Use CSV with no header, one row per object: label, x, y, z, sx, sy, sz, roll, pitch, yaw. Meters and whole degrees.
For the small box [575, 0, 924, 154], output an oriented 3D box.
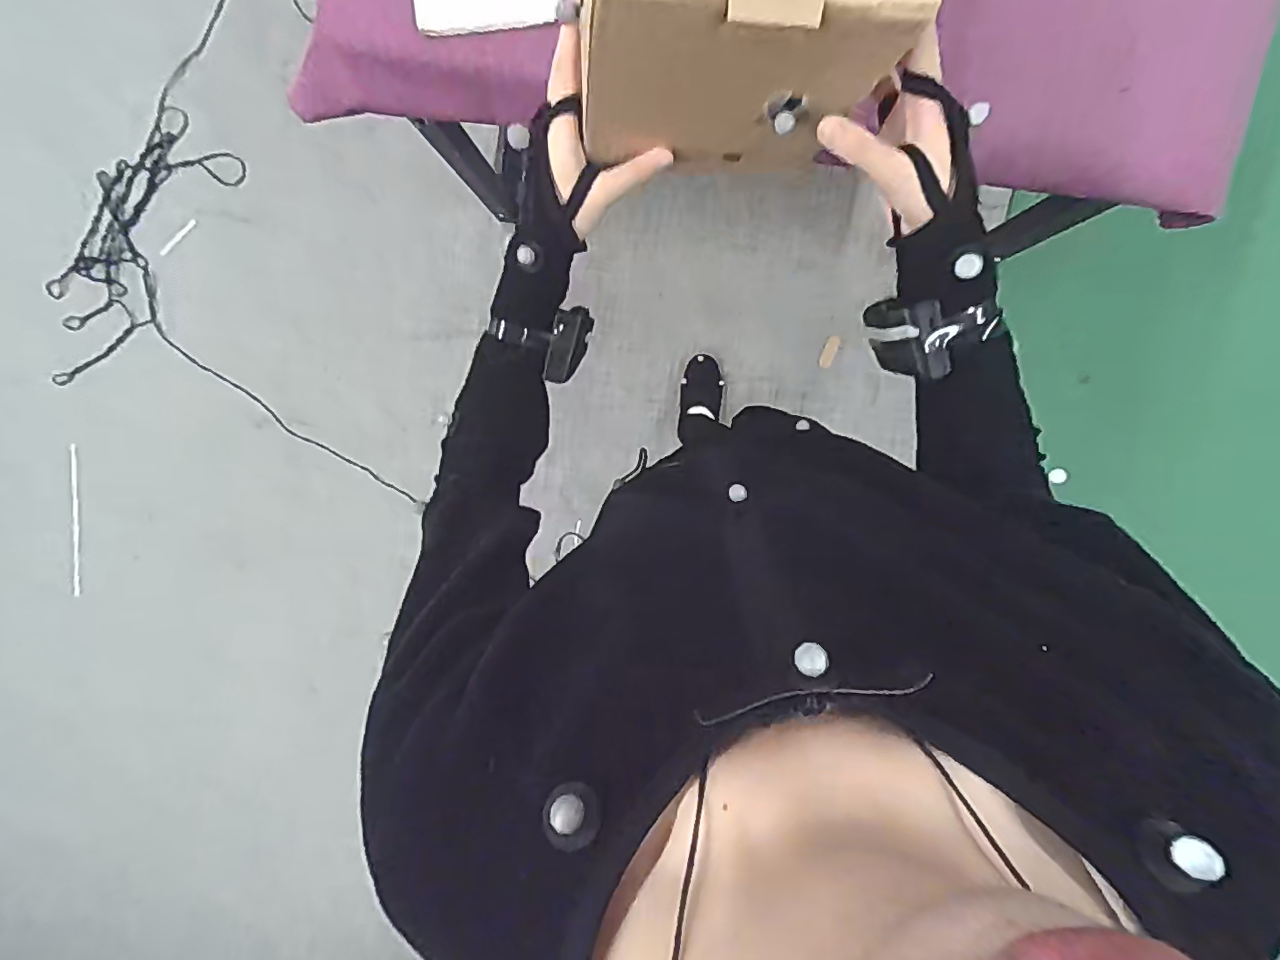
small box,0.047,-0.318,0.314,0.168,0.176,0.179,-2,96,-7
